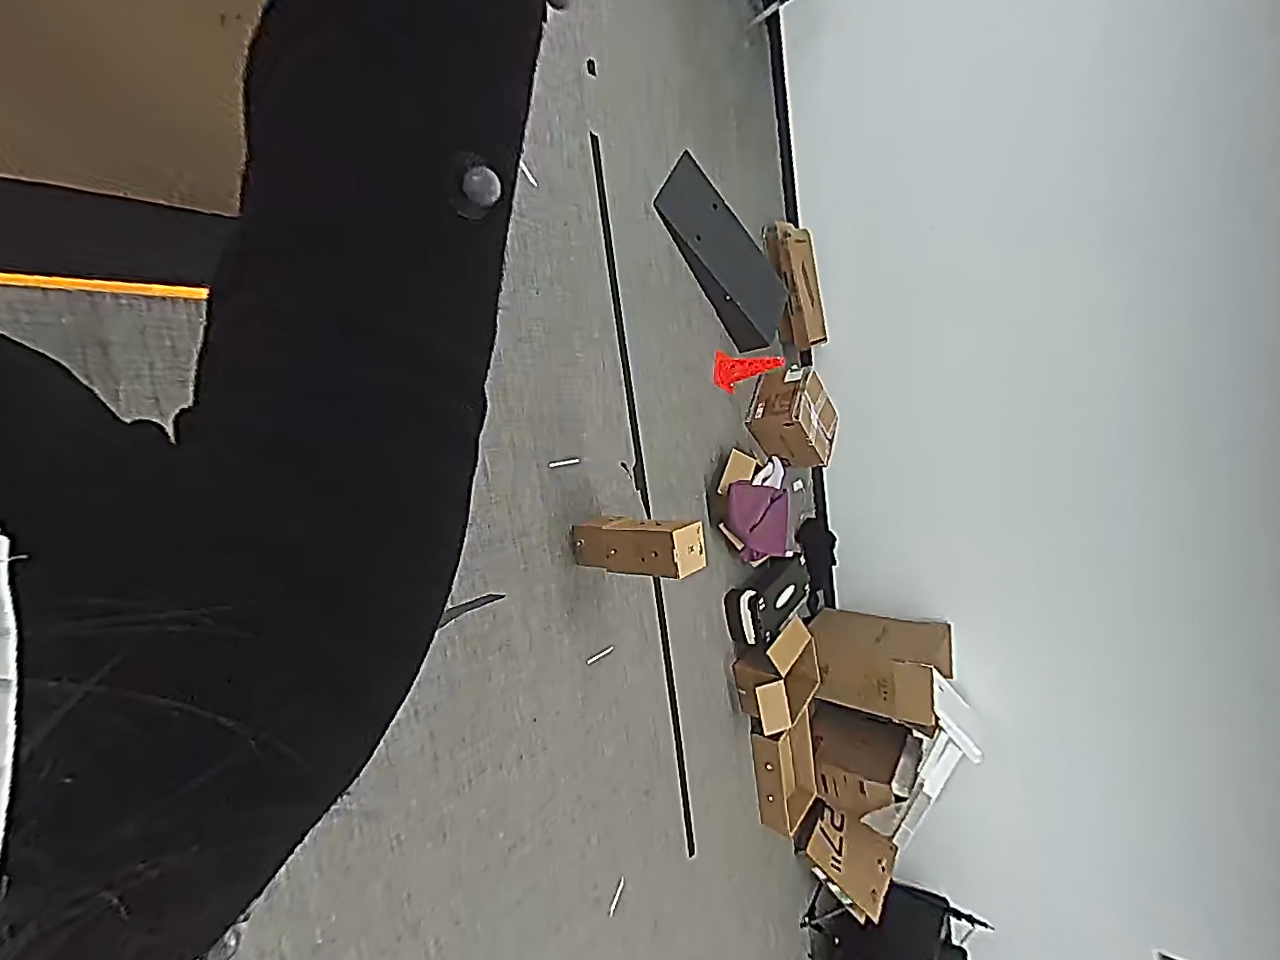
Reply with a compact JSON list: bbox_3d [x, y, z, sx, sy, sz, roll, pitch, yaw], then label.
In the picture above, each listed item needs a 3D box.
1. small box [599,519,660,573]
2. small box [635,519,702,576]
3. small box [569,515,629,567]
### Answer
[{"bbox_3d":[-0.030,0.239,2.007,0.179,0.176,0.168,-14,98,-50],"label":"small box"},{"bbox_3d":[0.095,0.233,1.901,0.179,0.176,0.168,-13,98,-50],"label":"small box"},{"bbox_3d":[-0.153,0.234,2.118,0.179,0.176,0.168,-14,99,-49],"label":"small box"}]
